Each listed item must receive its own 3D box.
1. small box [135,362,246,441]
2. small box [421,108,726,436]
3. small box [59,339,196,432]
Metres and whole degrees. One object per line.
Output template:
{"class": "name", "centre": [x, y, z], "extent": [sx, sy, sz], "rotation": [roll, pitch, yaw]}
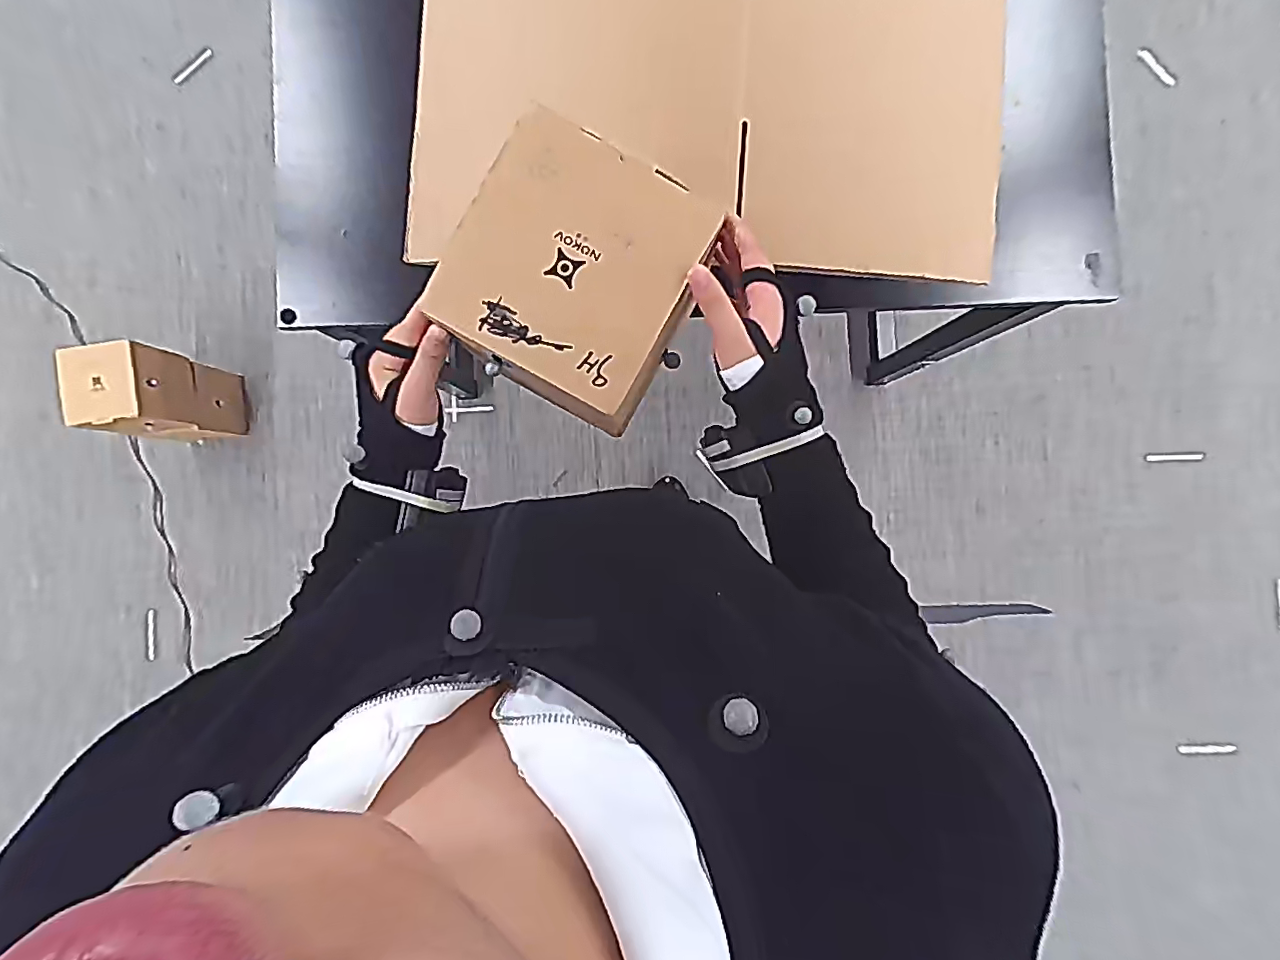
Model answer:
{"class": "small box", "centre": [-1.189, -0.203, 1.433], "extent": [0.168, 0.176, 0.179], "rotation": [-6, 89, 0]}
{"class": "small box", "centre": [-0.049, -0.157, 0.472], "extent": [0.168, 0.176, 0.179], "rotation": [30, 88, 2]}
{"class": "small box", "centre": [-1.192, -0.213, 1.271], "extent": [0.168, 0.176, 0.179], "rotation": [-9, 87, -1]}
